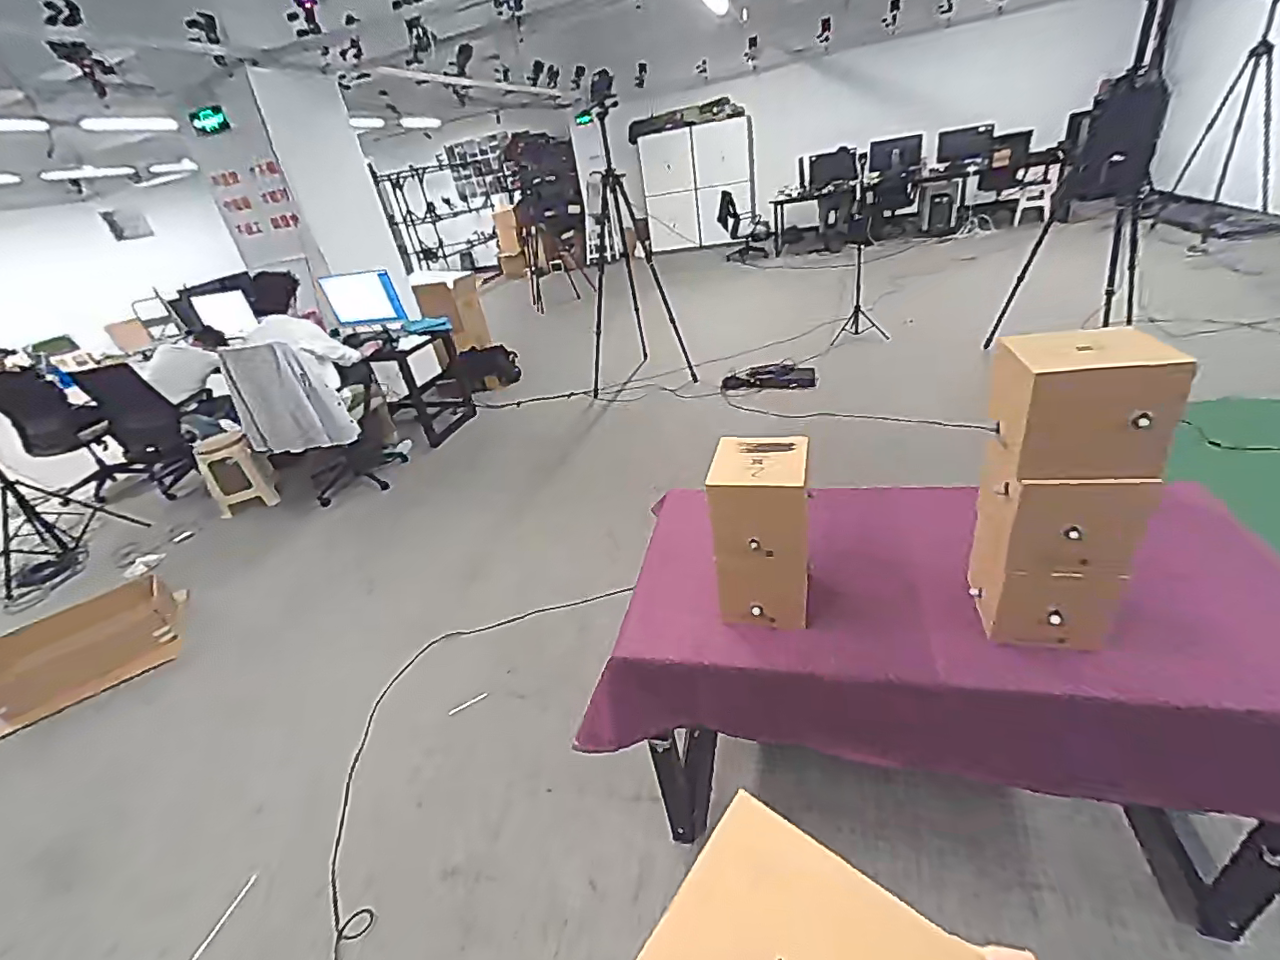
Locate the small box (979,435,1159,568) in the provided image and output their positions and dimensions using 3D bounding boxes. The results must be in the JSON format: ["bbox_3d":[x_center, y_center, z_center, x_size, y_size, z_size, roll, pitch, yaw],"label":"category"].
[{"bbox_3d":[0.667,0.024,0.867,0.168,0.176,0.179,0,32,17],"label":"small box"}]

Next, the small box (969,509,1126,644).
[{"bbox_3d":[0.698,0.164,0.949,0.168,0.176,0.179,0,33,18],"label":"small box"}]

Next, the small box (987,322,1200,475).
[{"bbox_3d":[0.637,-0.117,0.789,0.179,0.176,0.168,-1,31,18],"label":"small box"}]

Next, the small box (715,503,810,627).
[{"bbox_3d":[0.252,0.166,1.089,0.168,0.176,0.179,1,33,19],"label":"small box"}]
